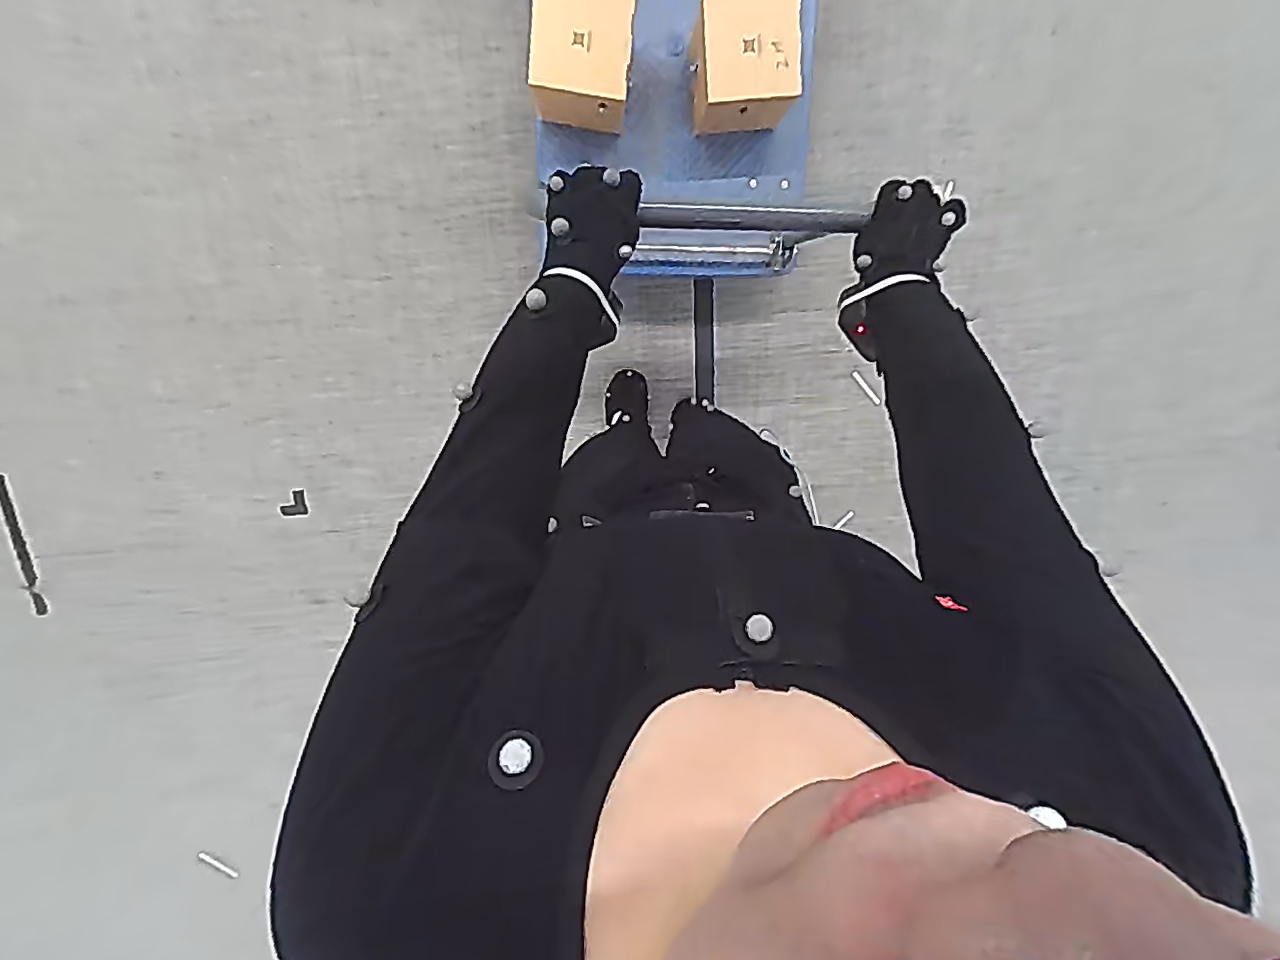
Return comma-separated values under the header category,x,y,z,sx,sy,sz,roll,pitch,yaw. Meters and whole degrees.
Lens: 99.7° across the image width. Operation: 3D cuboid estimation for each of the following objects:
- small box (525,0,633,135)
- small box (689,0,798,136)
category,x,y,z,sx,sy,sz,roll,pitch,yaw
small box,-0.114,-0.777,1.015,0.179,0.176,0.168,5,104,-7
small box,0.190,-0.781,1.034,0.179,0.176,0.168,-6,106,-2
